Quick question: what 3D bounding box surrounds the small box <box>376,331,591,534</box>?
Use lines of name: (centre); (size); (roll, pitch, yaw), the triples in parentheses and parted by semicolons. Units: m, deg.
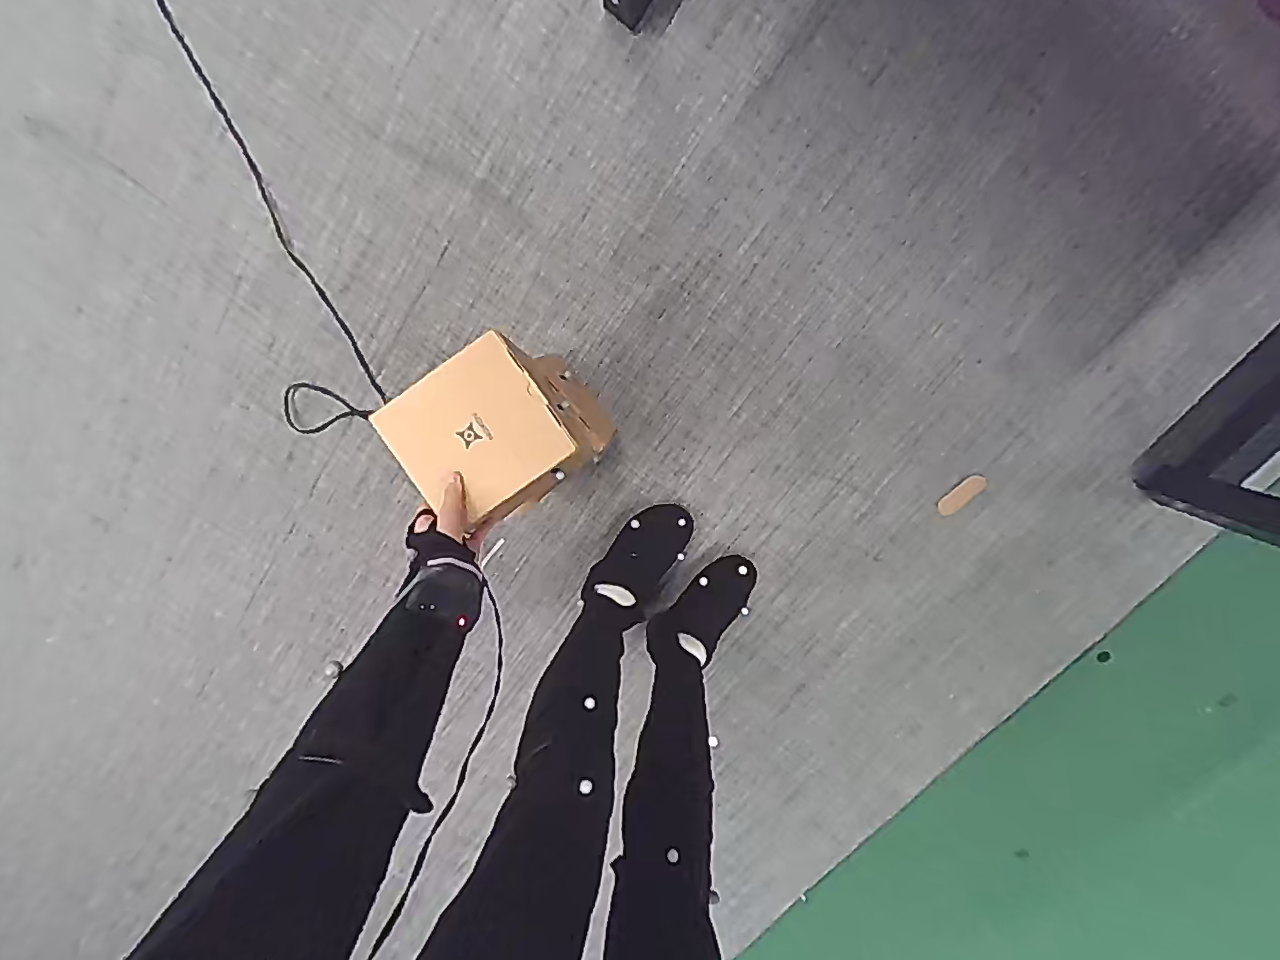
small box: (-0.180, -0.054, 0.682); (0.179, 0.176, 0.168); (-35, 92, 2)

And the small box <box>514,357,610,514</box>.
small box: (-0.162, -0.081, 0.863); (0.179, 0.176, 0.168); (-37, 100, 12)
